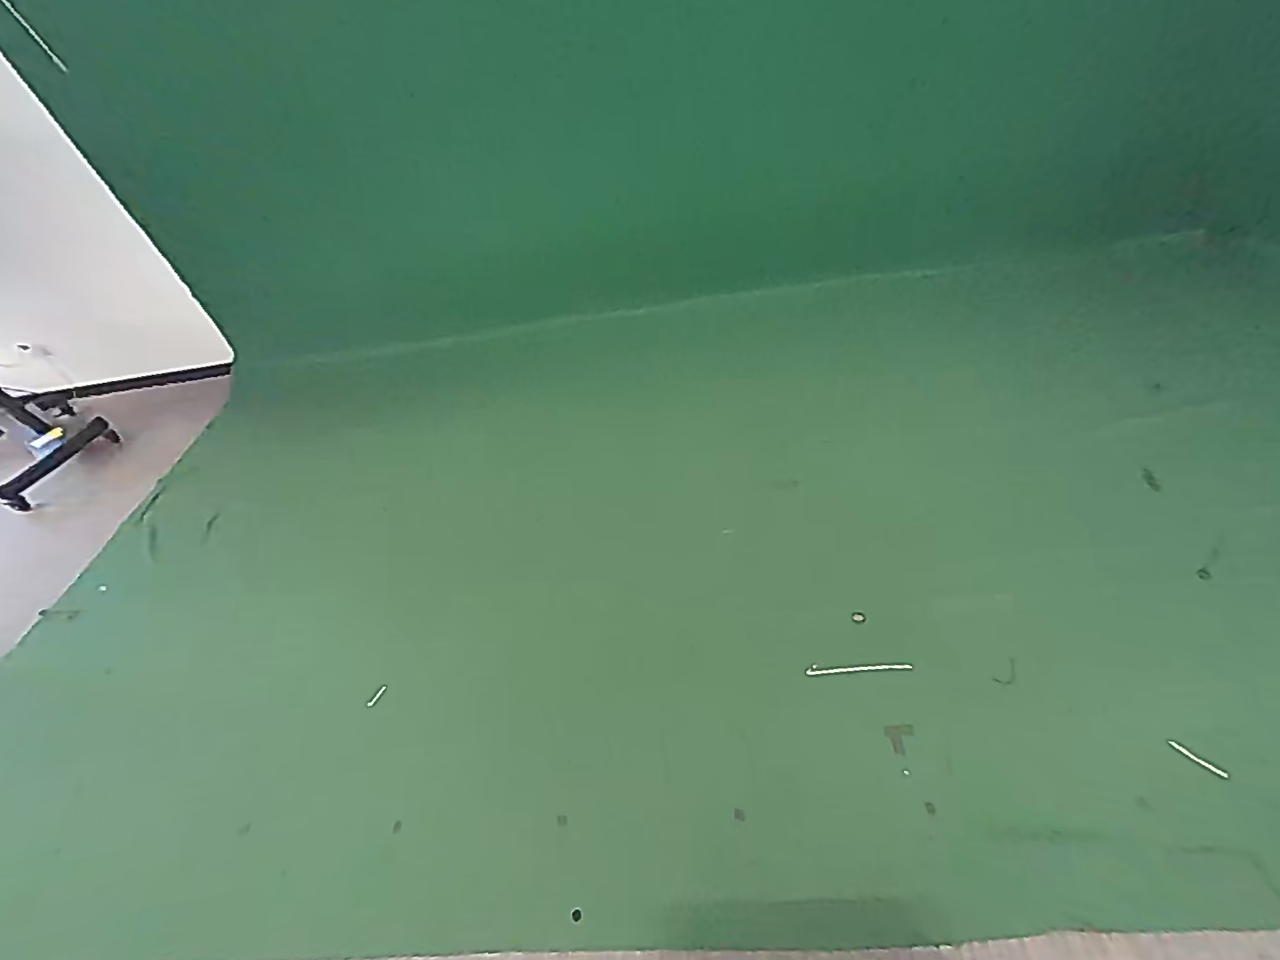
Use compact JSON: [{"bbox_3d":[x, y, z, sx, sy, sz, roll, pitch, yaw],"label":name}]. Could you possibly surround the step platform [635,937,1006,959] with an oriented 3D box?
[{"bbox_3d":[0.315,0.995,0.935,0.684,0.204,0.286,-7,46,6],"label":"step platform"}]
